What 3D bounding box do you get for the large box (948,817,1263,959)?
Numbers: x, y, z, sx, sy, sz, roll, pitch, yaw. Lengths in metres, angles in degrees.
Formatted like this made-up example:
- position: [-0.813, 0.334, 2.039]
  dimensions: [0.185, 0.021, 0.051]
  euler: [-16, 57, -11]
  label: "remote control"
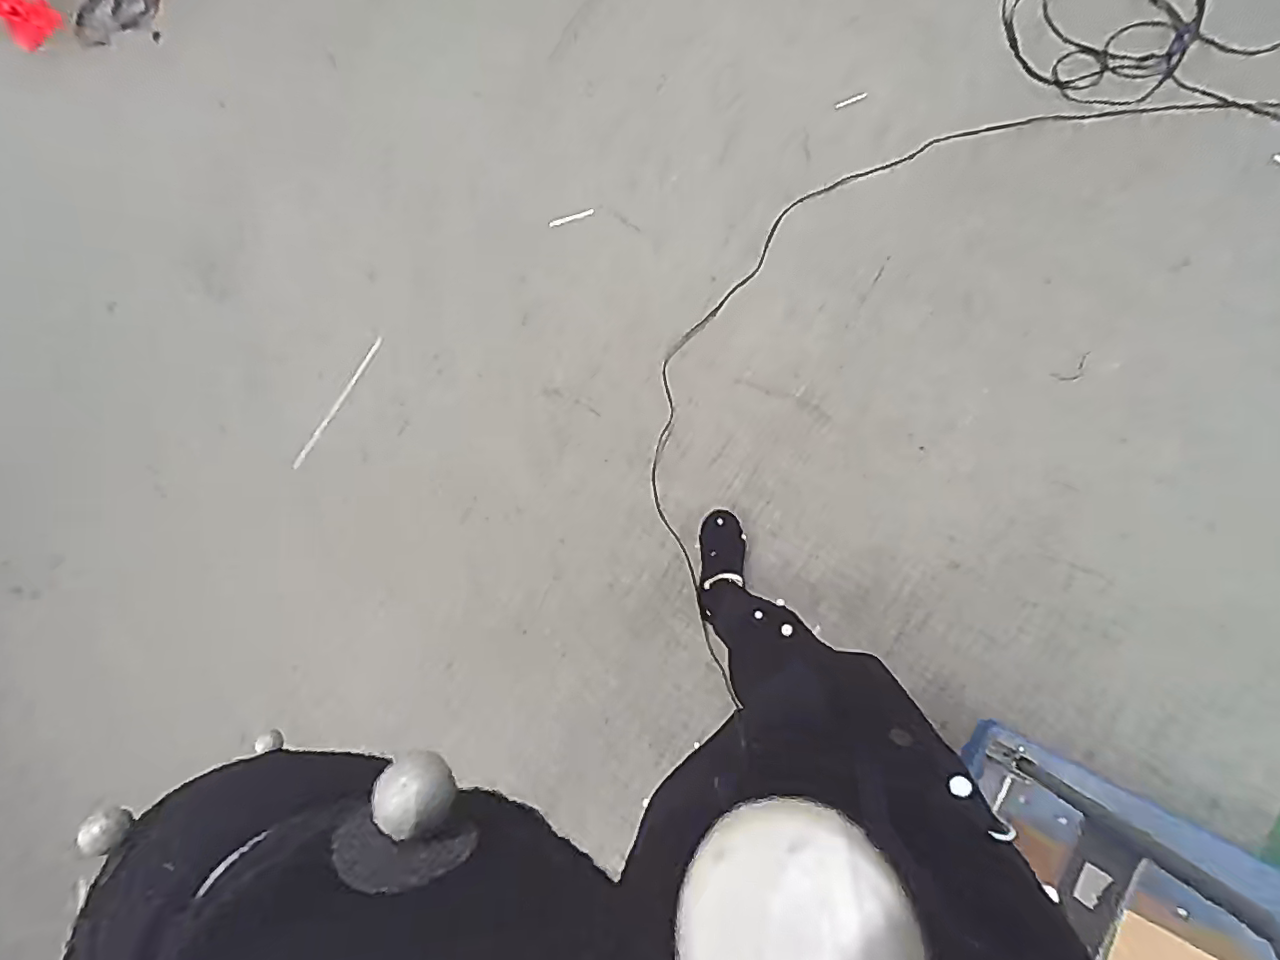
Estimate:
- position: [0.822, 0.865, 0.898]
  dimensions: [0.408, 0.320, 0.320]
  euler: [26, 85, 12]
  label: "large box"
